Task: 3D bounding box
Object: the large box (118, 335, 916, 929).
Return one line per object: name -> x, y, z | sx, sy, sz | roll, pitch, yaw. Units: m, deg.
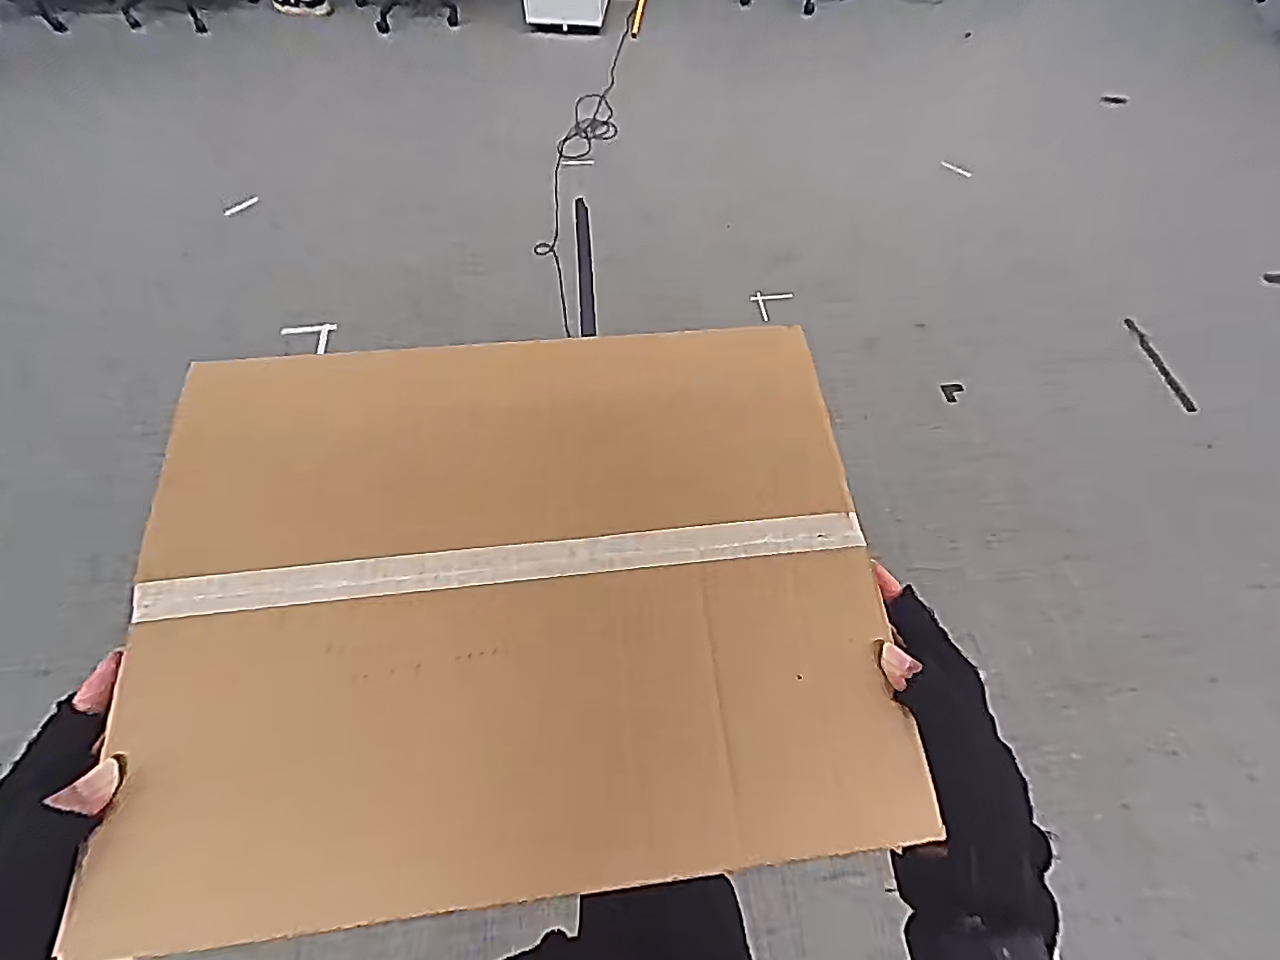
large box -> -0.074, 0.109, 0.462 | 0.408, 0.320, 0.320 | -5, 68, -5
